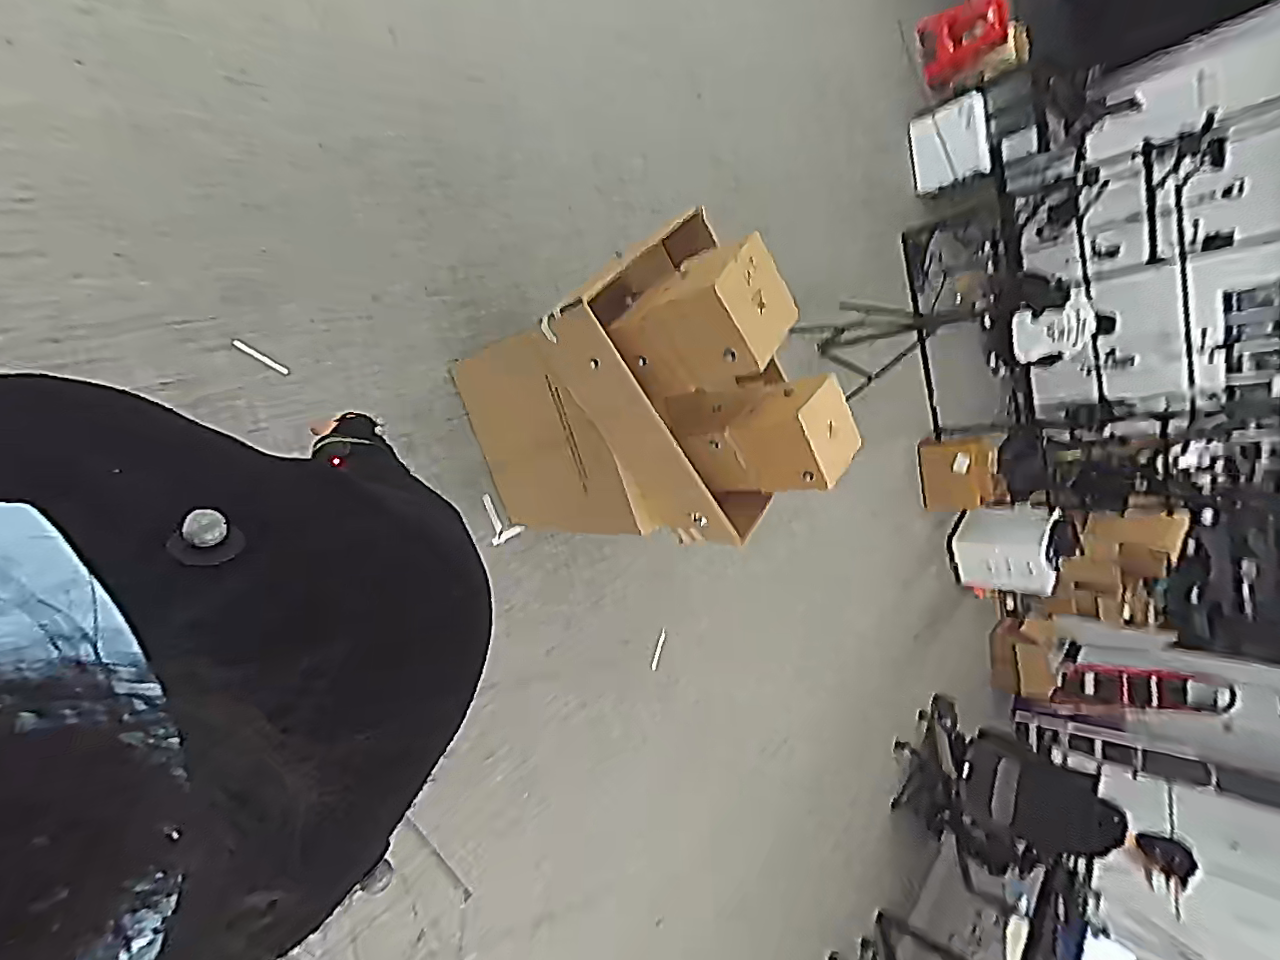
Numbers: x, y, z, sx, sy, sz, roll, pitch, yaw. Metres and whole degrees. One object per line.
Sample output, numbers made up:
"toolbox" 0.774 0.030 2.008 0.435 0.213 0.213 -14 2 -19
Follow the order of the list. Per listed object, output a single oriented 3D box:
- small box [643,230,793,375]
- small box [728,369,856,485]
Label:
"small box" 0.140 -0.307 0.976 0.179 0.176 0.168 51 59 -28
"small box" 0.312 -0.102 1.120 0.168 0.176 0.179 -46 117 -32
